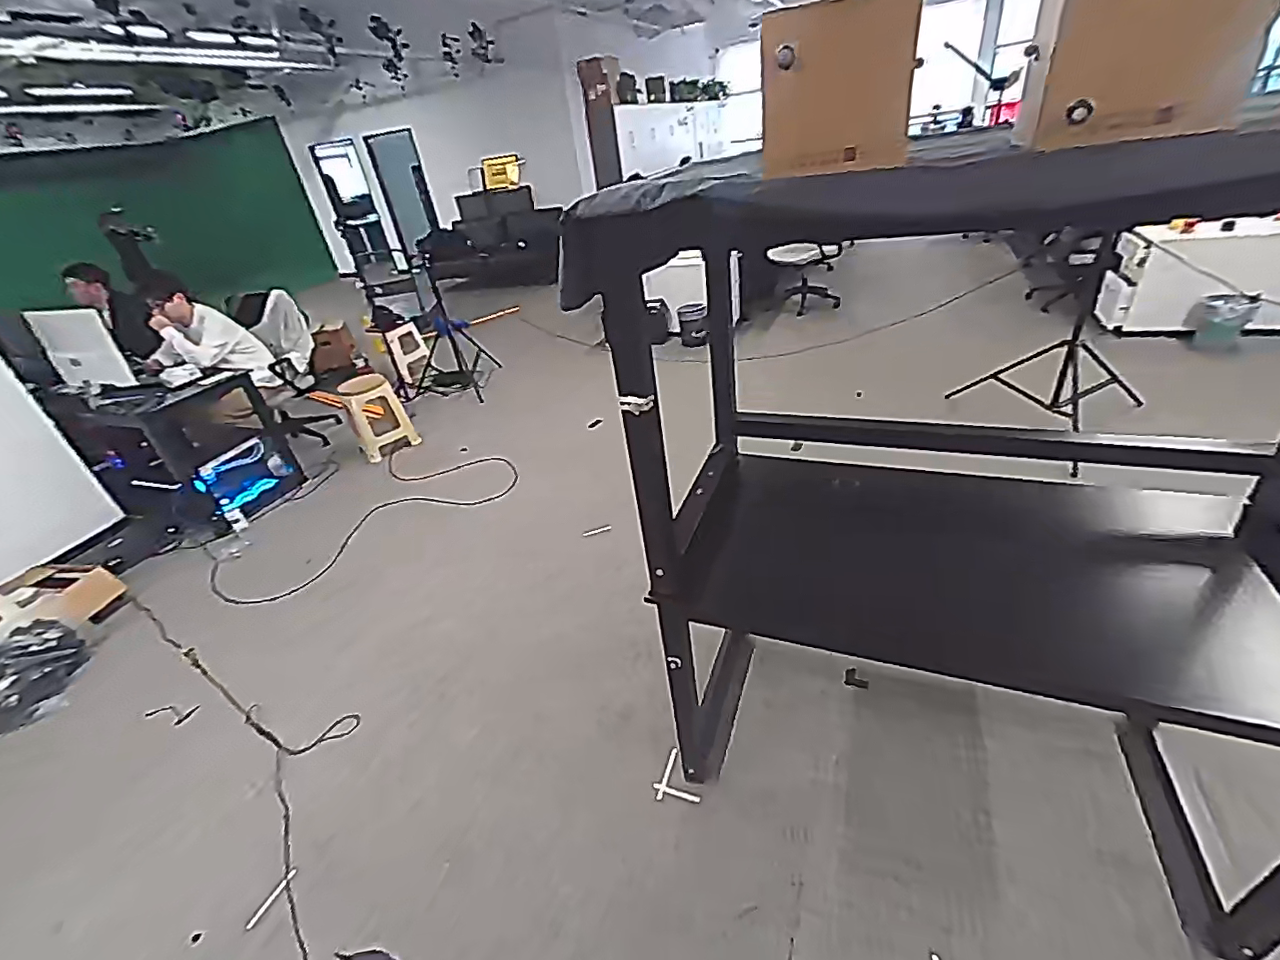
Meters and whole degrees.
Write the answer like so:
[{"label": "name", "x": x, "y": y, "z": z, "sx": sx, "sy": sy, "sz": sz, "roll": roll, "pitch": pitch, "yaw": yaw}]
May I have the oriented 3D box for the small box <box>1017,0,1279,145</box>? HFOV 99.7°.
[{"label": "small box", "x": 0.511, "y": -0.454, "z": 0.557, "sx": 0.168, "sy": 0.176, "sz": 0.179, "roll": 7, "pitch": 33, "yaw": 23}]
